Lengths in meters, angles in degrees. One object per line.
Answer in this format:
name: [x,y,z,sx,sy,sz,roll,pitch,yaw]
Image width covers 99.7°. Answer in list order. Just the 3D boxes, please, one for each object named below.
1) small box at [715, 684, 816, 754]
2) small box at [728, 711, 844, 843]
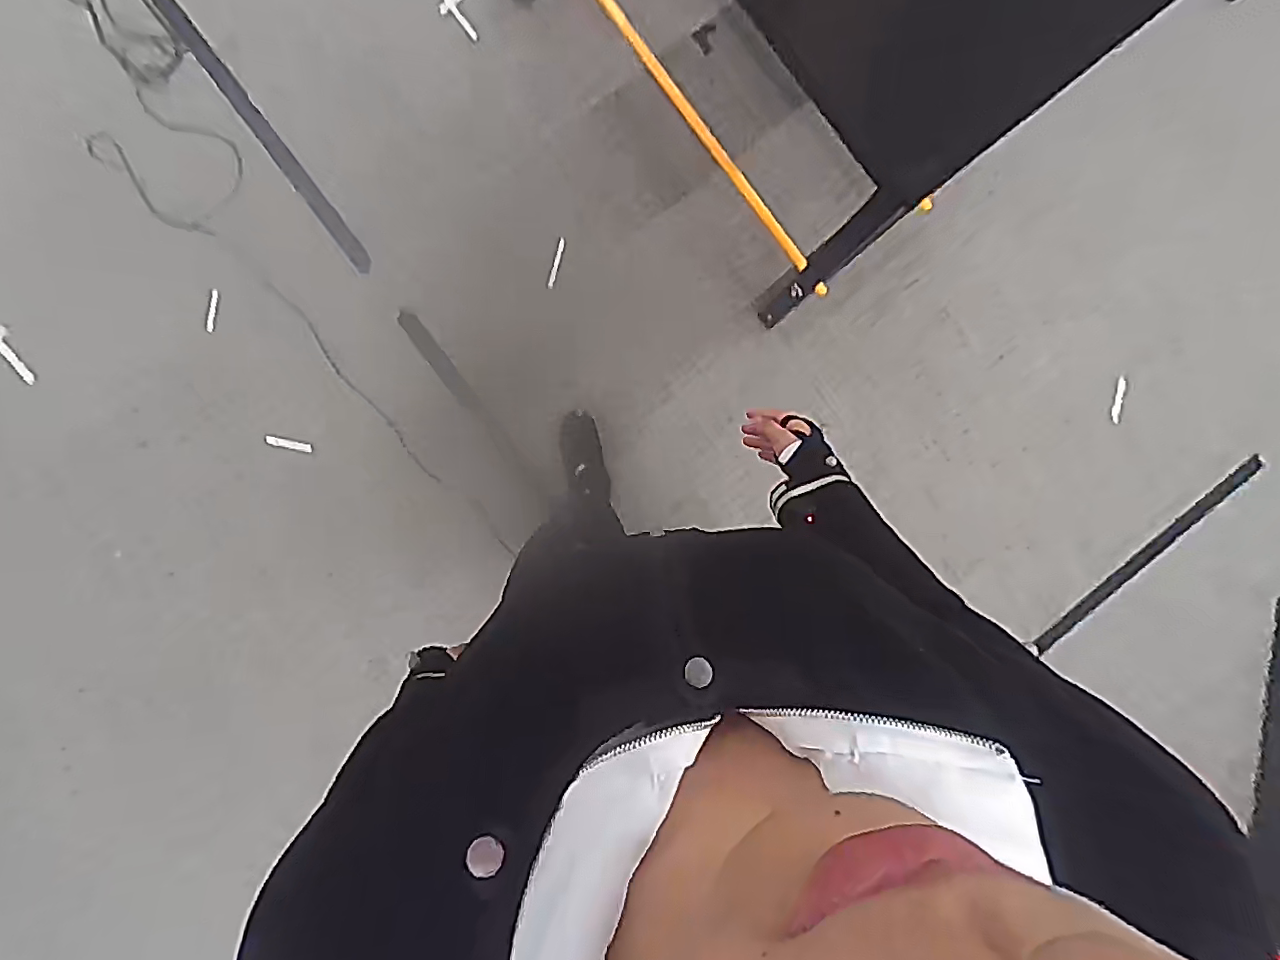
small box: [0.325,0.678,1.433,0.179,0.176,0.168,45,87,-2]
small box: [0.333,0.684,1.269,0.179,0.176,0.168,-43,92,-2]
